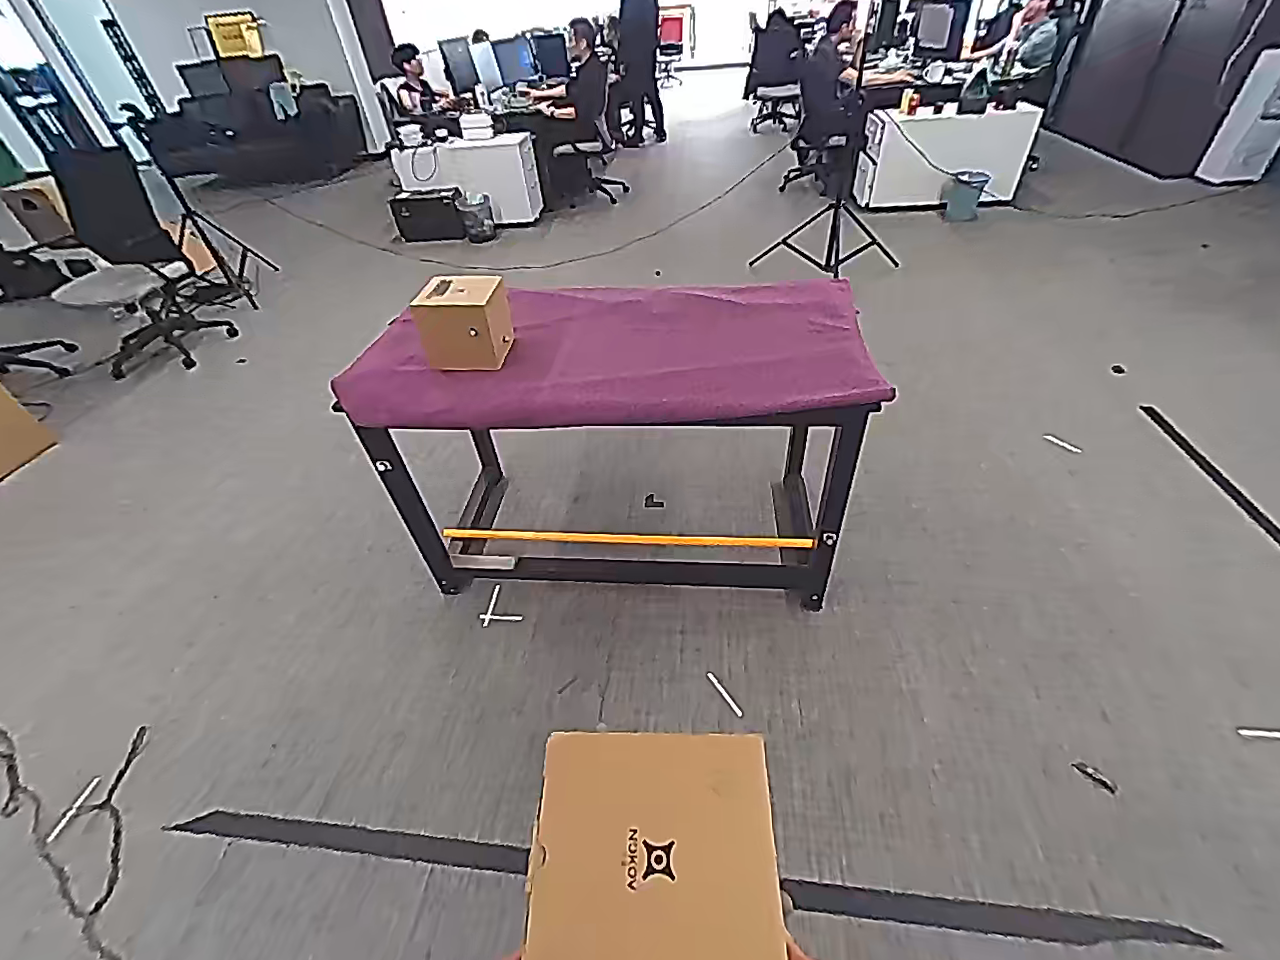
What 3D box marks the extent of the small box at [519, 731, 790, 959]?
[{"bbox_3d":[0.017,0.314,0.441,0.179,0.176,0.168,-3,51,6],"label":"small box"}]
